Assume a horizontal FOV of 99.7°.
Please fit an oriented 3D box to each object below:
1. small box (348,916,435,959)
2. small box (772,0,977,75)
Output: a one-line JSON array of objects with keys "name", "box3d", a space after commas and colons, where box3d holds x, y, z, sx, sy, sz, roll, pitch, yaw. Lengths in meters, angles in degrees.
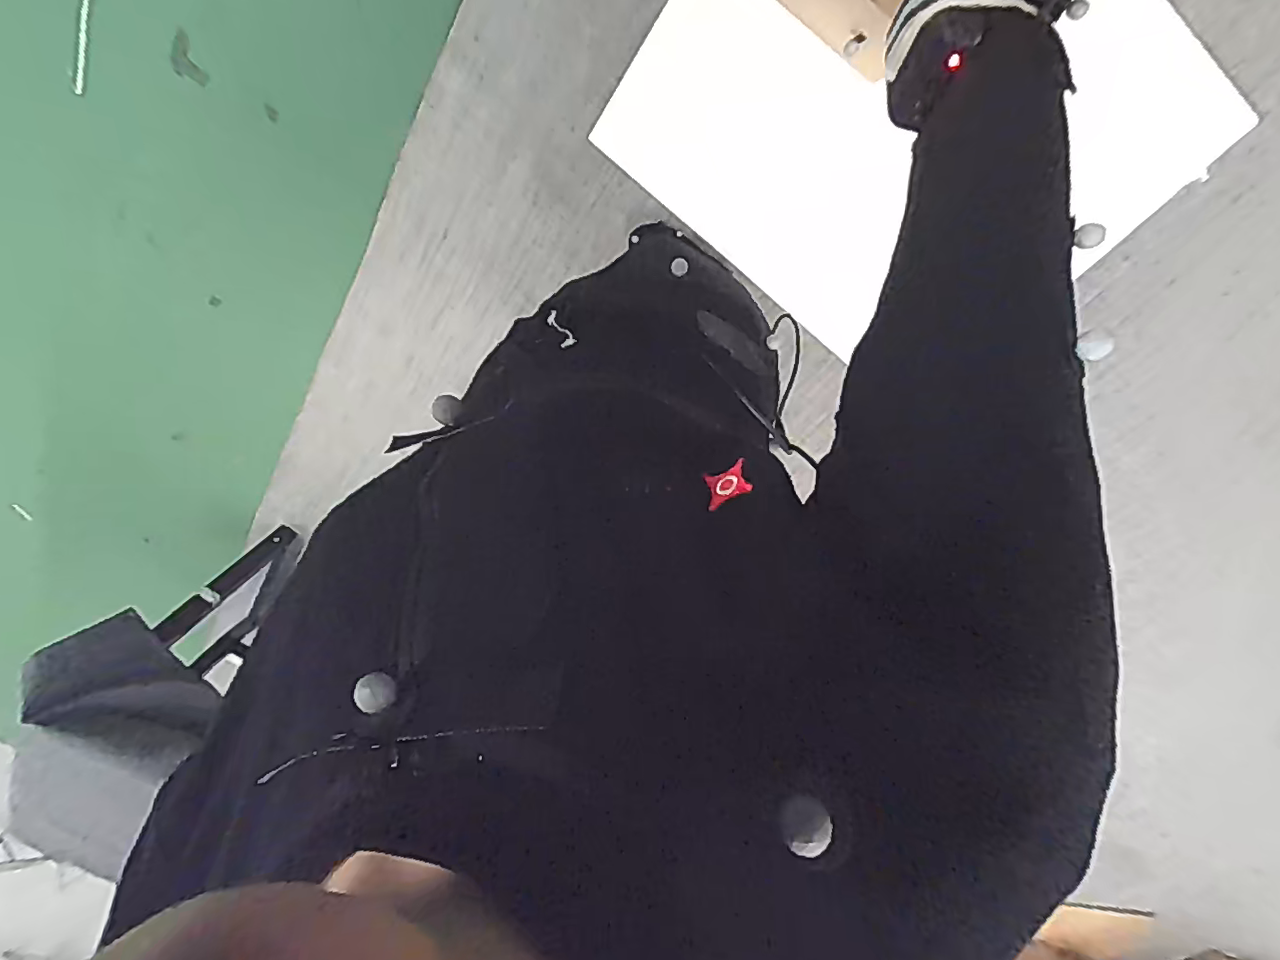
[{"name": "small box", "box3d": [-0.604, 1.161, 1.250, 0.168, 0.176, 0.179, 31, 118, -8]}, {"name": "small box", "box3d": [0.192, -0.444, 0.405, 0.179, 0.176, 0.168, 32, 118, -10]}]
